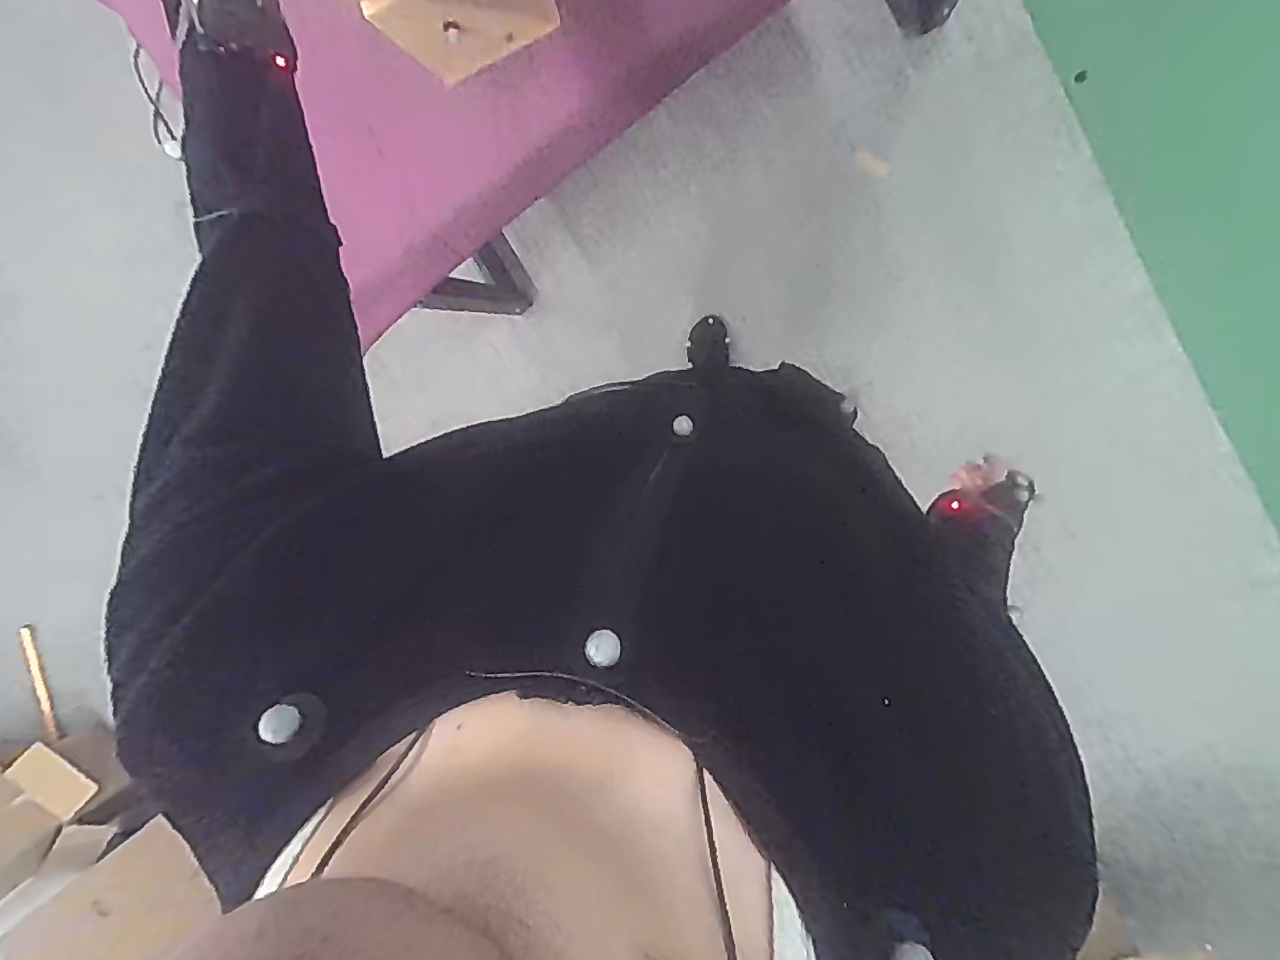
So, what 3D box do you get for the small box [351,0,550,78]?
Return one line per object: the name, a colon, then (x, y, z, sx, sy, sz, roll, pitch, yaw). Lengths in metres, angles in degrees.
small box: (-0.219, -0.584, 0.589, 0.168, 0.176, 0.179, -16, 100, 15)
